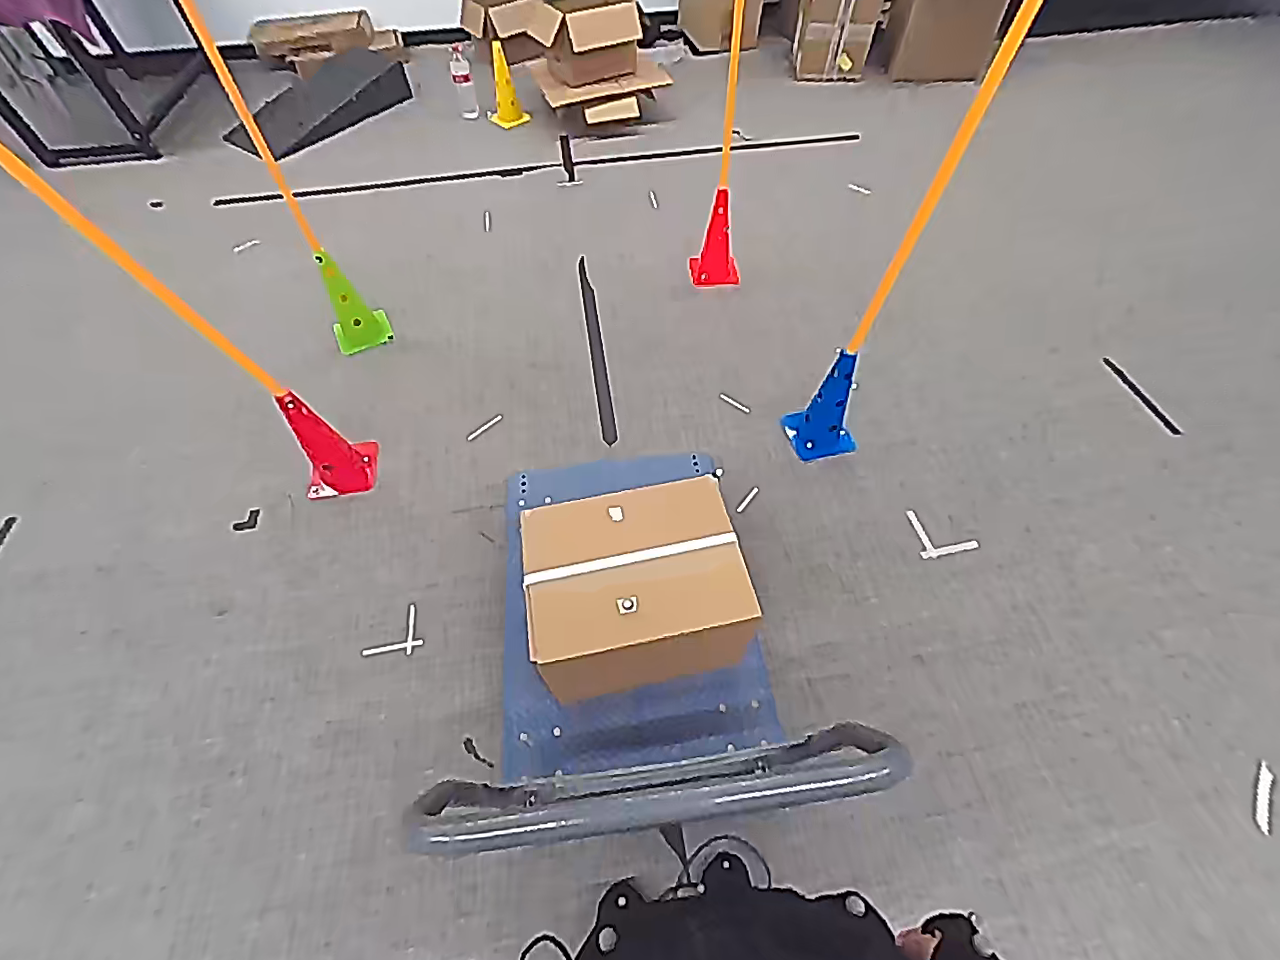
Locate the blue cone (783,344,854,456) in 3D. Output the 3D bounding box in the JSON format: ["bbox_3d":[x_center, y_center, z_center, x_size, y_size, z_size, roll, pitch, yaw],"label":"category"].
[{"bbox_3d":[0.589,-0.256,1.661,0.193,0.380,0.192,-11,55,-7],"label":"blue cone"}]

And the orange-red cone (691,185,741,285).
[{"bbox_3d":[0.319,-0.981,2.140,0.199,0.360,0.198,-2,56,-2],"label":"orange-red cone"}]
